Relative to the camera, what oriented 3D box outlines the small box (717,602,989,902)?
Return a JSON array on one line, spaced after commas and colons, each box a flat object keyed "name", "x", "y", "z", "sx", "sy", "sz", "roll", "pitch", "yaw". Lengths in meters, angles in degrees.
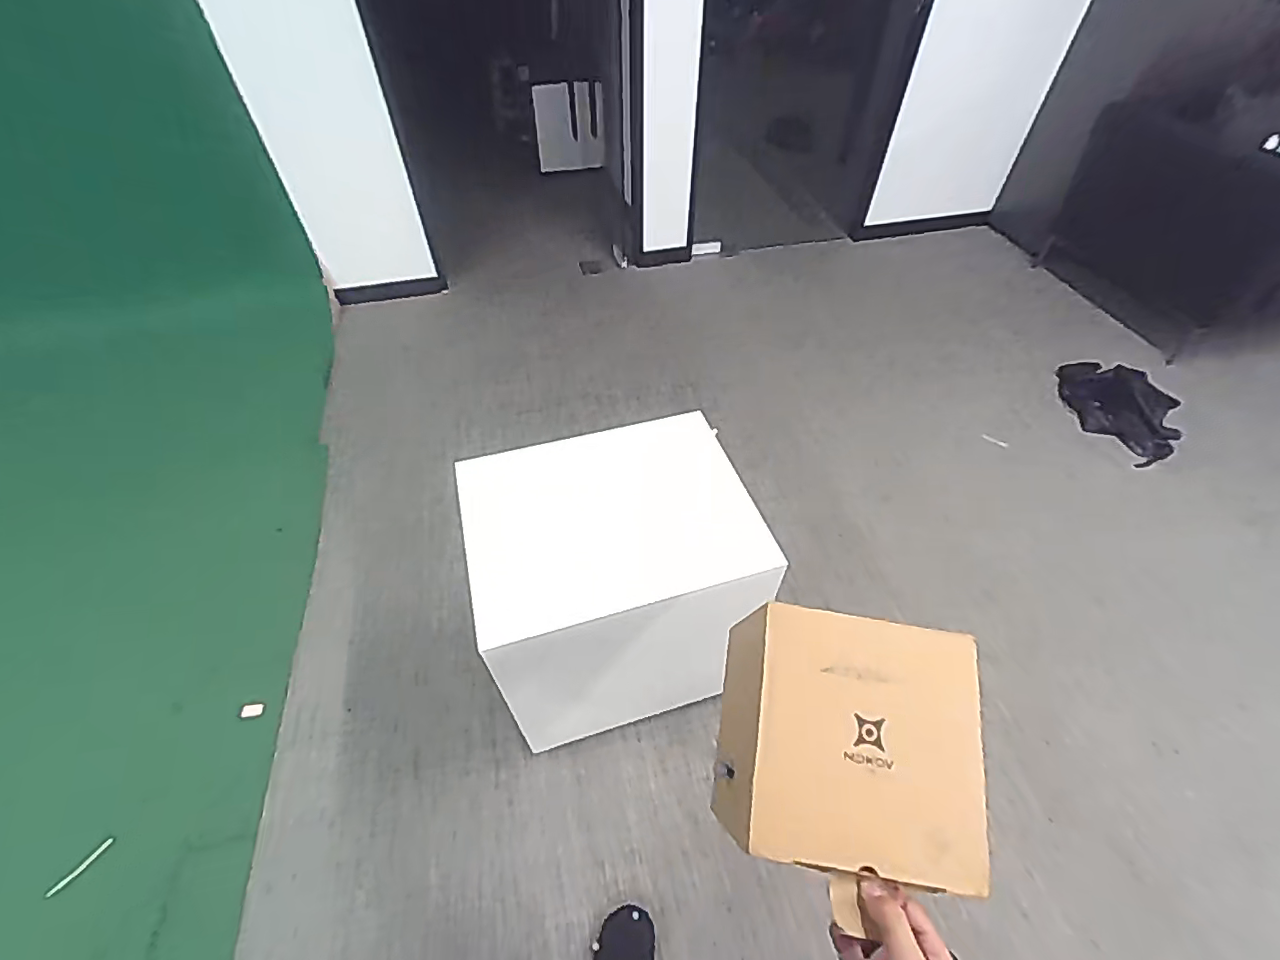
[{"name": "small box", "x": 0.165, "y": 0.220, "z": 0.468, "sx": 0.168, "sy": 0.176, "sz": 0.179, "roll": 9, "pitch": 67, "yaw": 2}]
